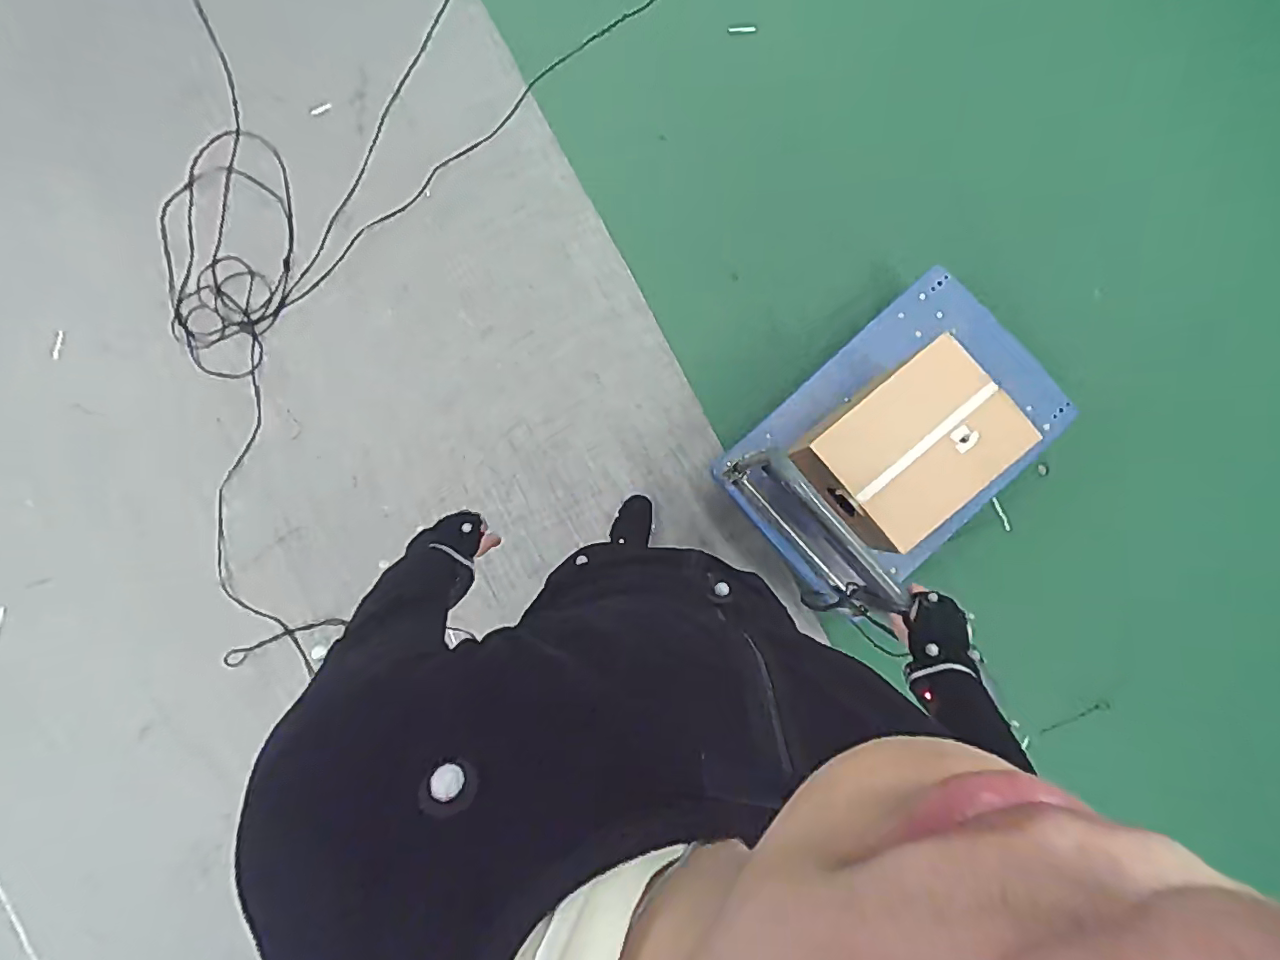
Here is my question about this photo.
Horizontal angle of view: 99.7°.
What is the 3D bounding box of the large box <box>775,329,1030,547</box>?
[{"bbox_3d":[0.607,-0.082,1.326,0.408,0.320,0.320,-39,88,-2],"label":"large box"}]
